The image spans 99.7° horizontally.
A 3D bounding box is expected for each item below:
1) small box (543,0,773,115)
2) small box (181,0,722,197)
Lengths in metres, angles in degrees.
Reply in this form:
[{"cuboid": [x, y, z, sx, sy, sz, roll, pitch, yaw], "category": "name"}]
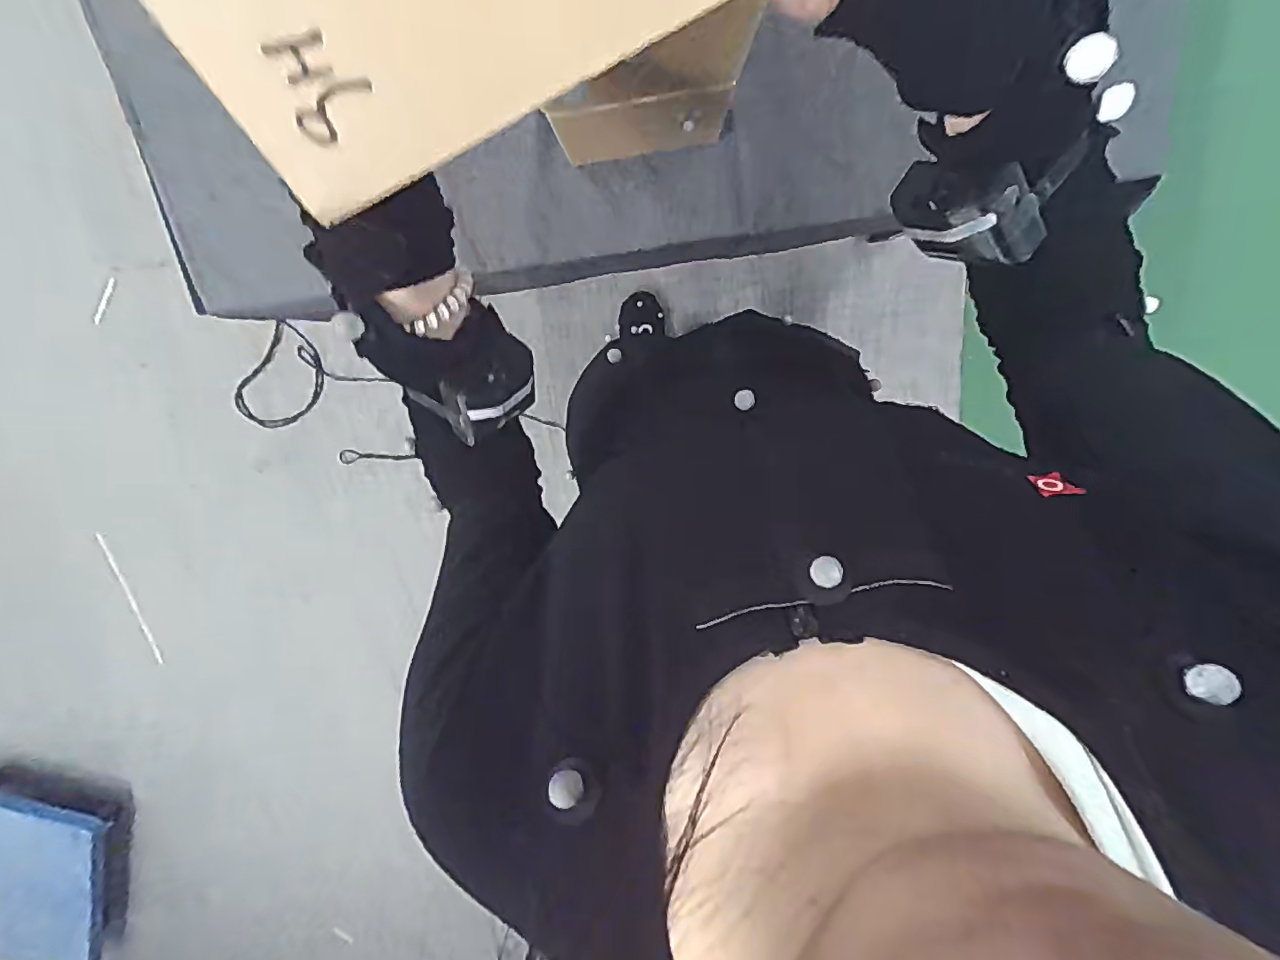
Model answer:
[{"cuboid": [-0.008, -0.395, 0.390, 0.179, 0.176, 0.168, -8, 106, 4], "category": "small box"}, {"cuboid": [-0.060, -0.226, 0.169, 0.179, 0.176, 0.168, -21, 129, 9], "category": "small box"}]
